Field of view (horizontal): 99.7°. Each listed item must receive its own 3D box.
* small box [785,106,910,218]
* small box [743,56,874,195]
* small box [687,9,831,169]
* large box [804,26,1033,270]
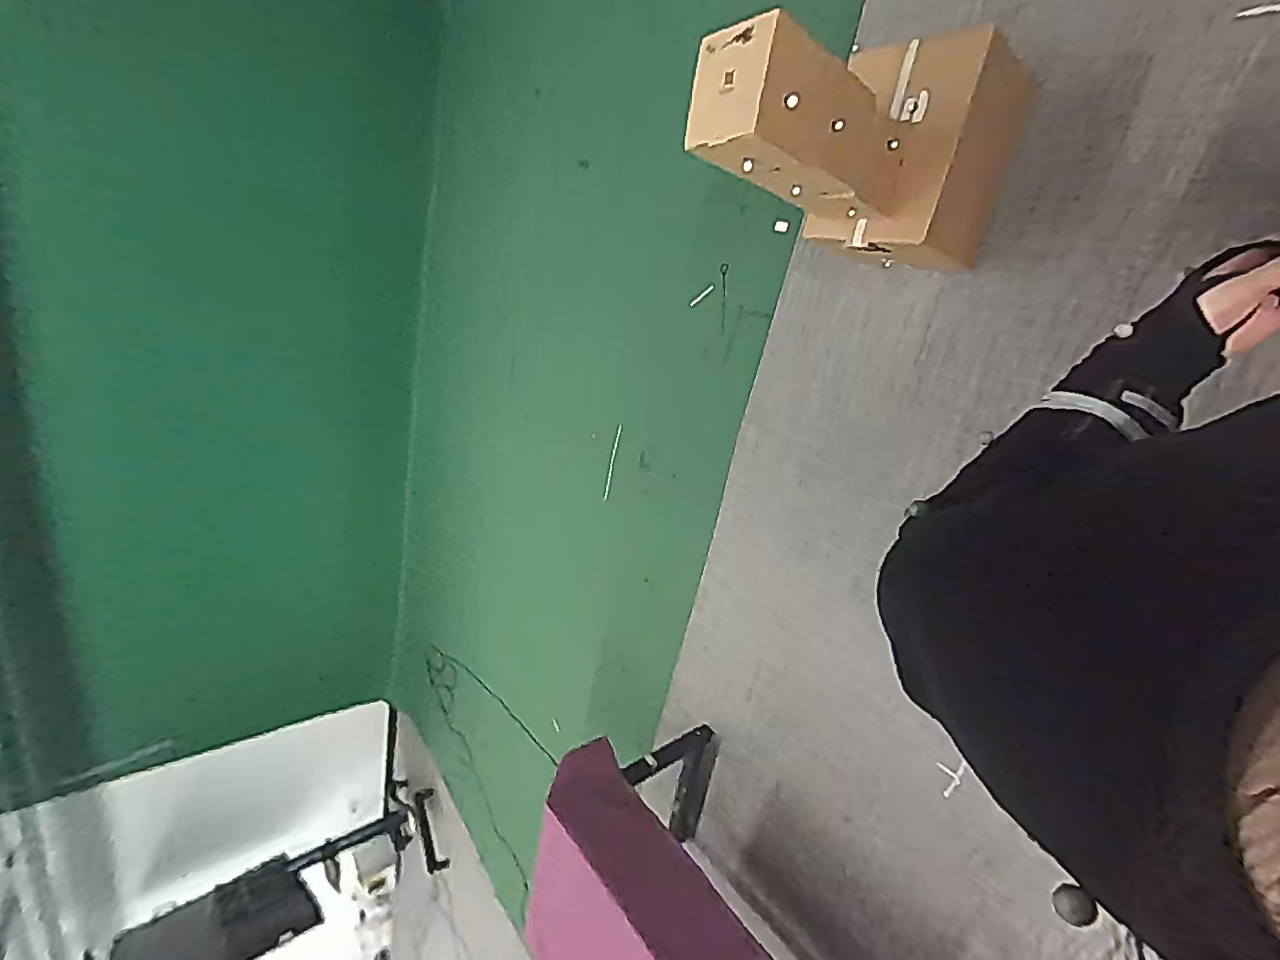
[{"bbox_3d":[0.452,-0.680,1.174,0.179,0.176,0.168,29,114,44],"label":"small box"},{"bbox_3d":[0.332,-0.677,1.062,0.168,0.176,0.179,23,109,45],"label":"small box"},{"bbox_3d":[0.210,-0.667,0.952,0.168,0.176,0.179,26,112,44],"label":"small box"},{"bbox_3d":[0.659,-0.753,1.302,0.320,0.320,0.408,30,114,43],"label":"large box"}]
